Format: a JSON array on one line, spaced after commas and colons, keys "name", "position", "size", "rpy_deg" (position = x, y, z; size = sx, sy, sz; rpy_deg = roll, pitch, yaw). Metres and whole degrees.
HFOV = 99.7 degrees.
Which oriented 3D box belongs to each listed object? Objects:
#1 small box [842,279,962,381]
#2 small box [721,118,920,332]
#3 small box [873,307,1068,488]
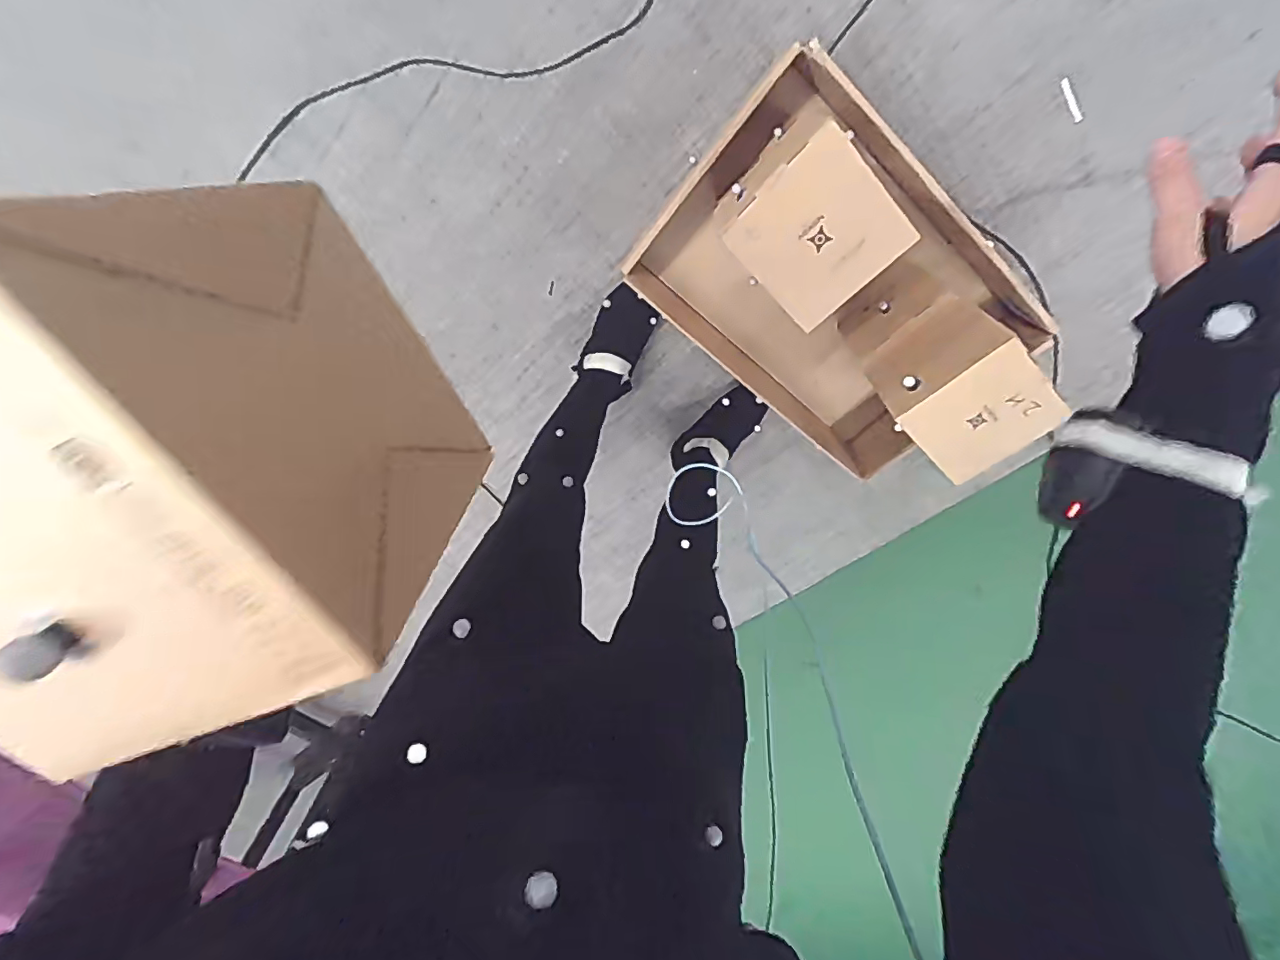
[{"name": "small box", "position": [0.485, -0.229, 0.950], "size": [0.179, 0.176, 0.168], "rpy_deg": [40, 119, -19]}, {"name": "small box", "position": [0.221, -0.334, 0.707], "size": [0.179, 0.176, 0.168], "rpy_deg": [40, 120, -21]}, {"name": "small box", "position": [0.481, -0.127, 0.820], "size": [0.168, 0.176, 0.179], "rpy_deg": [40, 118, -21]}]
